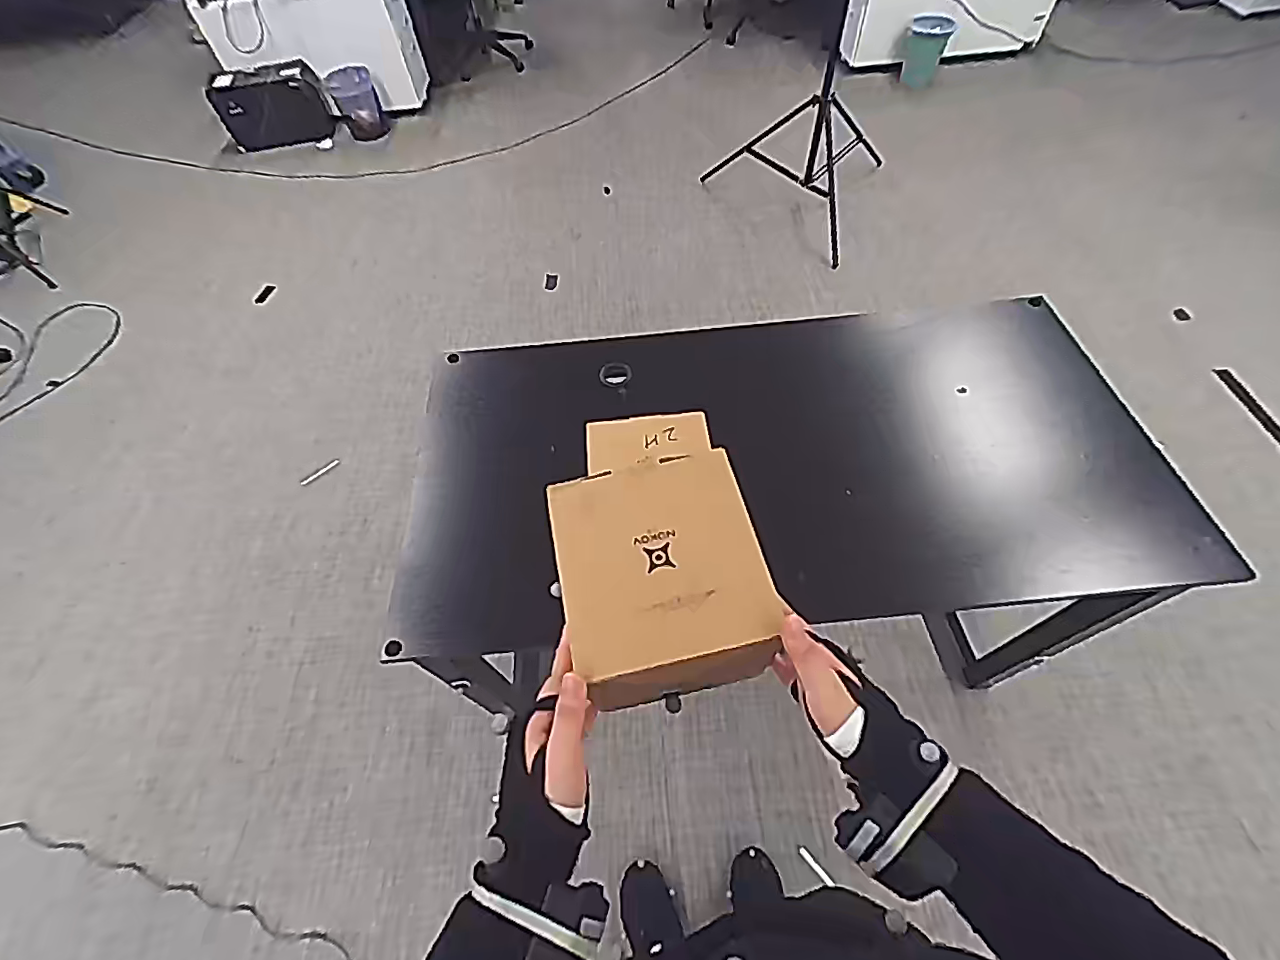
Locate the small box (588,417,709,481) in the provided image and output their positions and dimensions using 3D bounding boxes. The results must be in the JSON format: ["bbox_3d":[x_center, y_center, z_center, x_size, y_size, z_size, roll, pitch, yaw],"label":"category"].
[{"bbox_3d":[0.019,0.035,0.775,0.168,0.176,0.179,-6,56,0],"label":"small box"}]

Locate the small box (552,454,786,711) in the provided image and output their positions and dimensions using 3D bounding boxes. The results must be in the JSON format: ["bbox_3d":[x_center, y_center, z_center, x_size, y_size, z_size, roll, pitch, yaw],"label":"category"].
[{"bbox_3d":[0.020,0.104,0.519,0.168,0.176,0.179,-13,60,-3],"label":"small box"}]
